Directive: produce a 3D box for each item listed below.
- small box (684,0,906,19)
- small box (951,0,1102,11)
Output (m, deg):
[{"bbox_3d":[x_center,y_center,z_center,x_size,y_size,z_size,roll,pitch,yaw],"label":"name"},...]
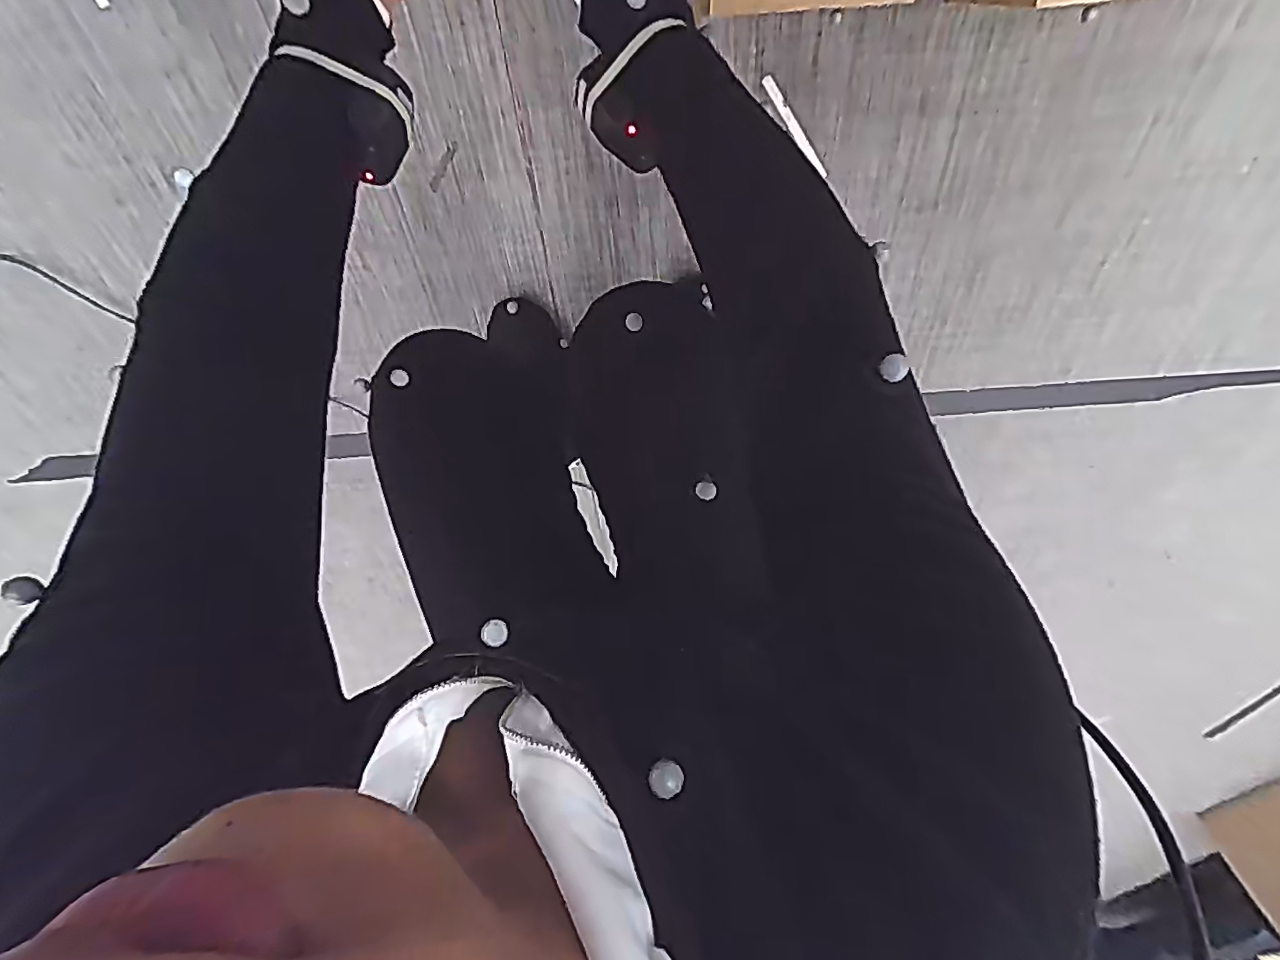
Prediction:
[{"bbox_3d":[0.129,-0.503,0.453,0.179,0.176,0.168,-3,132,1],"label":"small box"},{"bbox_3d":[0.392,-0.516,0.452,0.168,0.176,0.179,-5,131,2],"label":"small box"}]
